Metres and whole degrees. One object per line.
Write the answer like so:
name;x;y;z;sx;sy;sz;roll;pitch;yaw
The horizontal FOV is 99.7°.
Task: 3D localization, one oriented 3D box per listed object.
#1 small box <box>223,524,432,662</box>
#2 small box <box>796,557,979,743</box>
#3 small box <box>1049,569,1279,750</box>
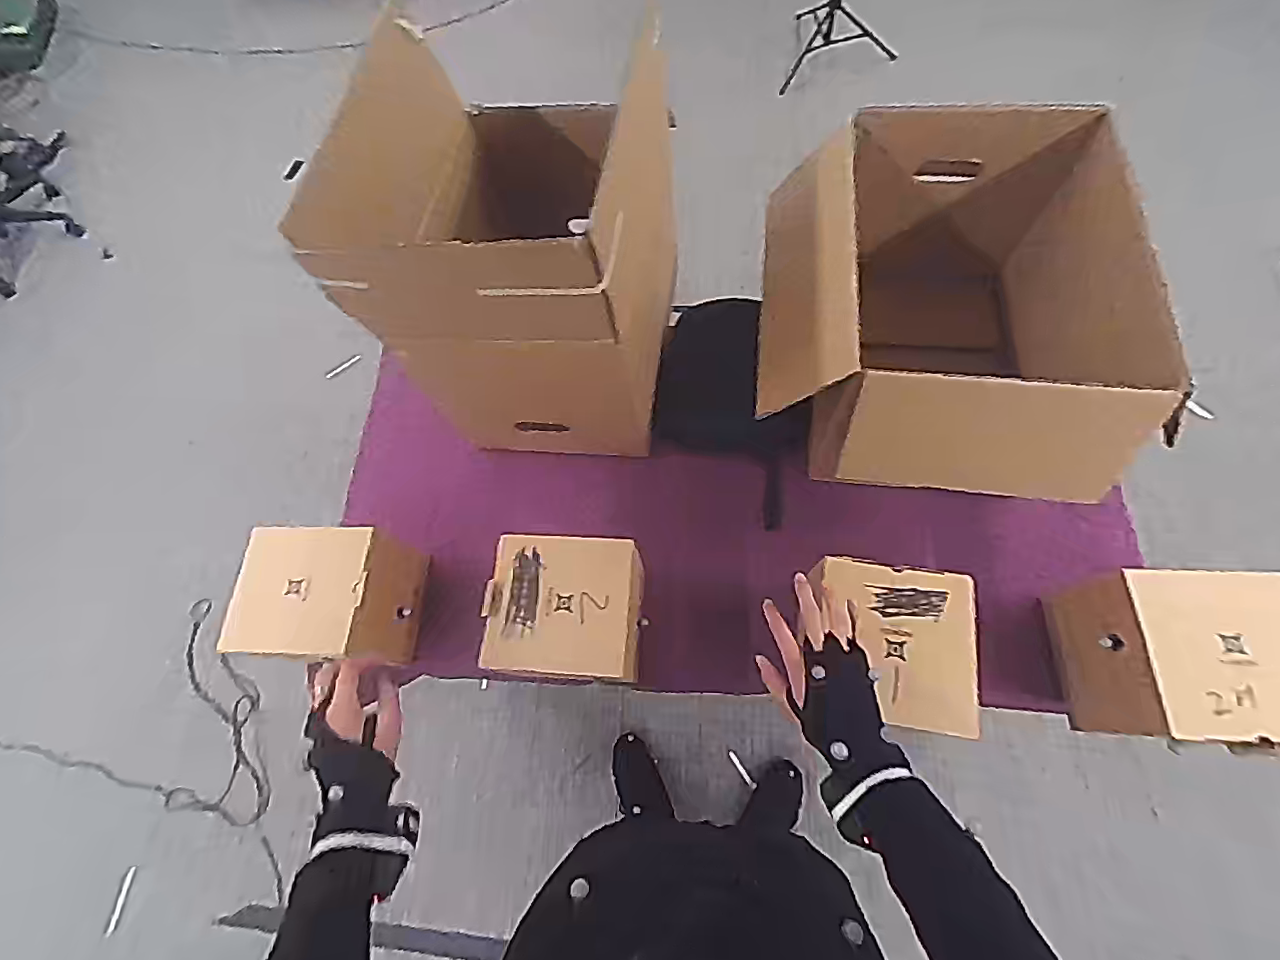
small box;-0.428;0.167;0.774;0.179;0.176;0.168;1;68;5
small box;0.295;0.211;0.675;0.168;0.176;0.179;8;70;10
small box;0.625;0.212;0.634;0.168;0.176;0.179;1;68;8
